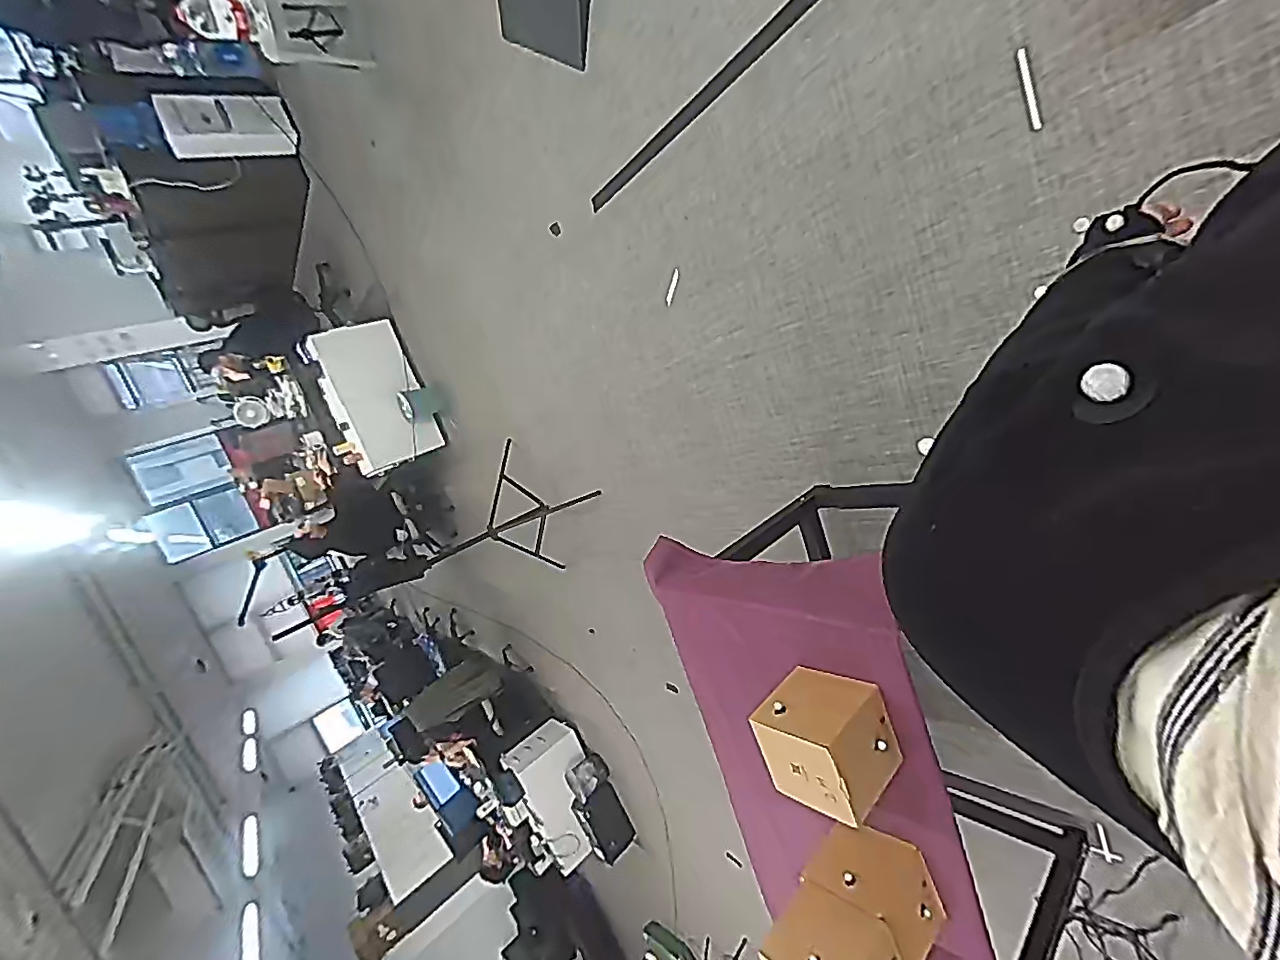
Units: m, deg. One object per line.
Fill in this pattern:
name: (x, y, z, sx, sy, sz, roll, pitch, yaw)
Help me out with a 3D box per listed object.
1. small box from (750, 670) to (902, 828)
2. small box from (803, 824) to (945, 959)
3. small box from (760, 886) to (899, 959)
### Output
small box: (0.339, 0.473, 0.984, 0.179, 0.176, 0.168, -8, 108, 53)
small box: (0.463, 0.824, 1.072, 0.179, 0.176, 0.168, -15, 101, 54)
small box: (0.354, 0.883, 0.964, 0.179, 0.176, 0.168, -12, 103, 54)
